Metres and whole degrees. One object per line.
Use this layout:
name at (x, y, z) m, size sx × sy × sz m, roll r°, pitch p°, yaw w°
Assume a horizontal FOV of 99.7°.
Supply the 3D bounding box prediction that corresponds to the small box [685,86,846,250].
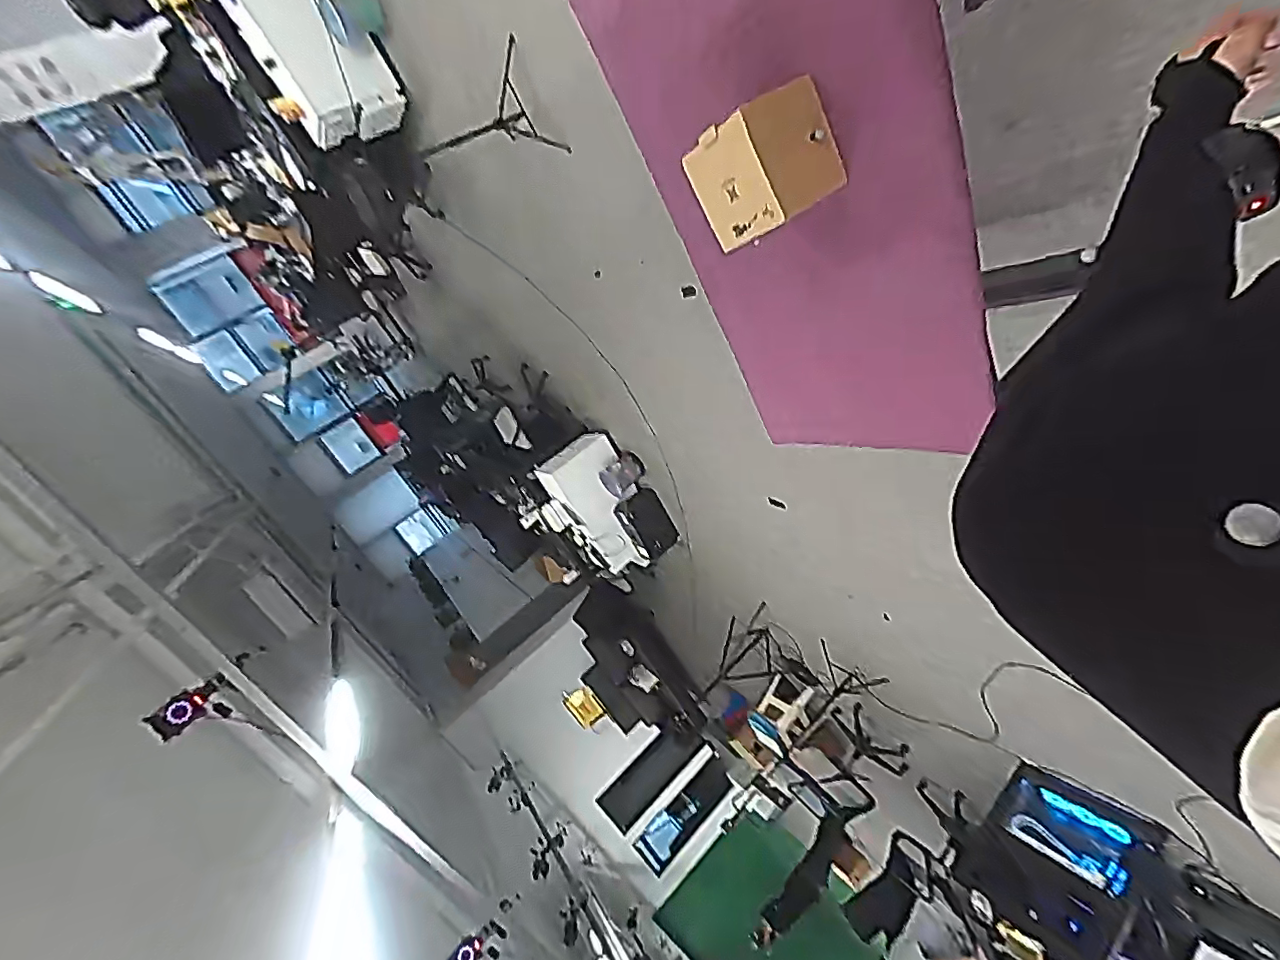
small box at (0.214, -0.530, 0.922) m, size 0.179 × 0.176 × 0.168 m, roll 60°, pitch 160°, yaw -18°
